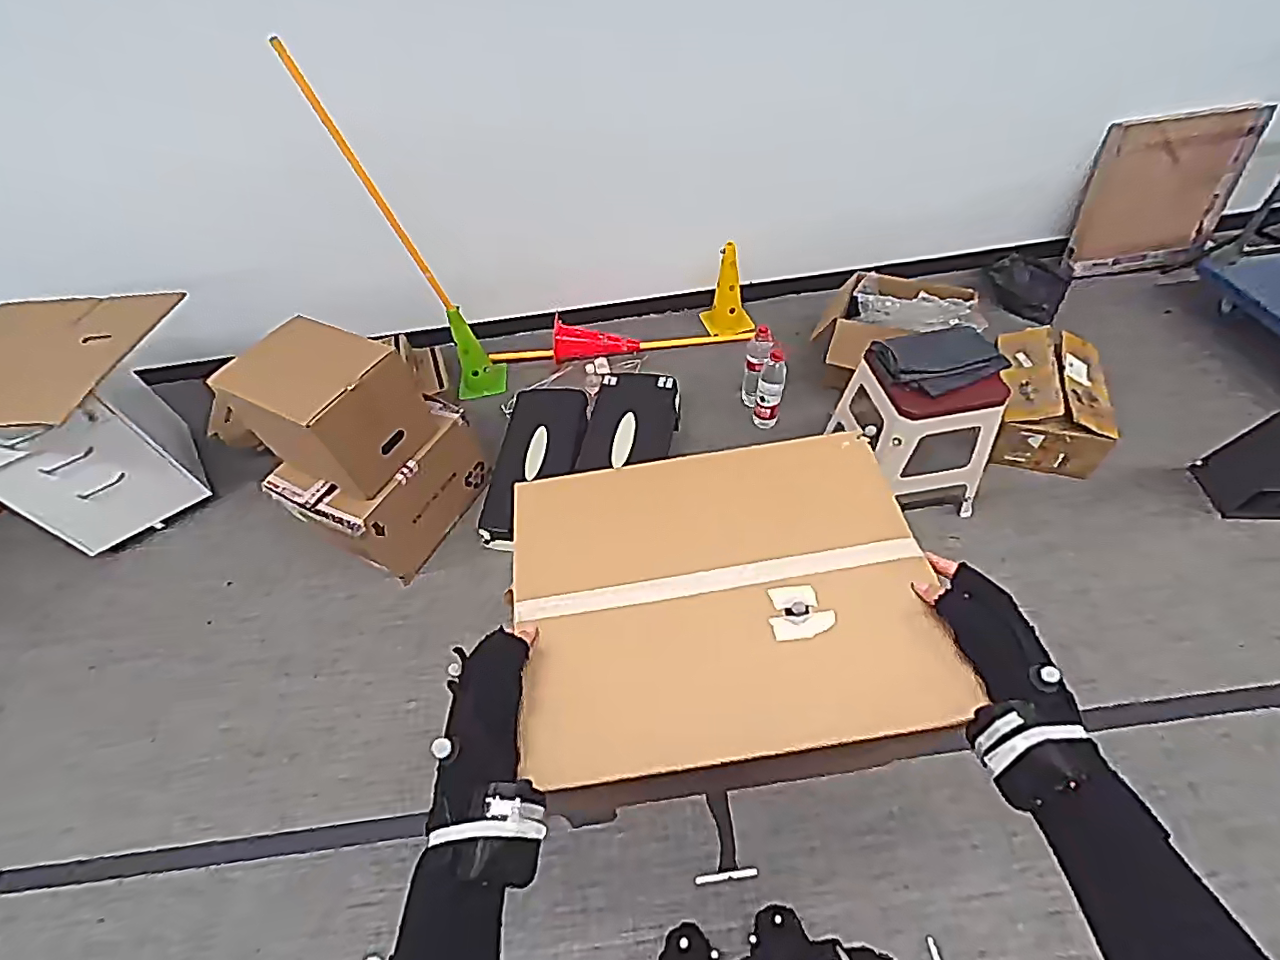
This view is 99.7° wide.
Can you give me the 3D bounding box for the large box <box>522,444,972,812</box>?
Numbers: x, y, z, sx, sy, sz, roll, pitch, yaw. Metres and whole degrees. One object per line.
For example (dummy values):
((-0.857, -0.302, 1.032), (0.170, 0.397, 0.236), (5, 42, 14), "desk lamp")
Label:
((0.088, 0.196, 0.676), (0.408, 0.320, 0.320), (-9, 56, -1), "large box")
